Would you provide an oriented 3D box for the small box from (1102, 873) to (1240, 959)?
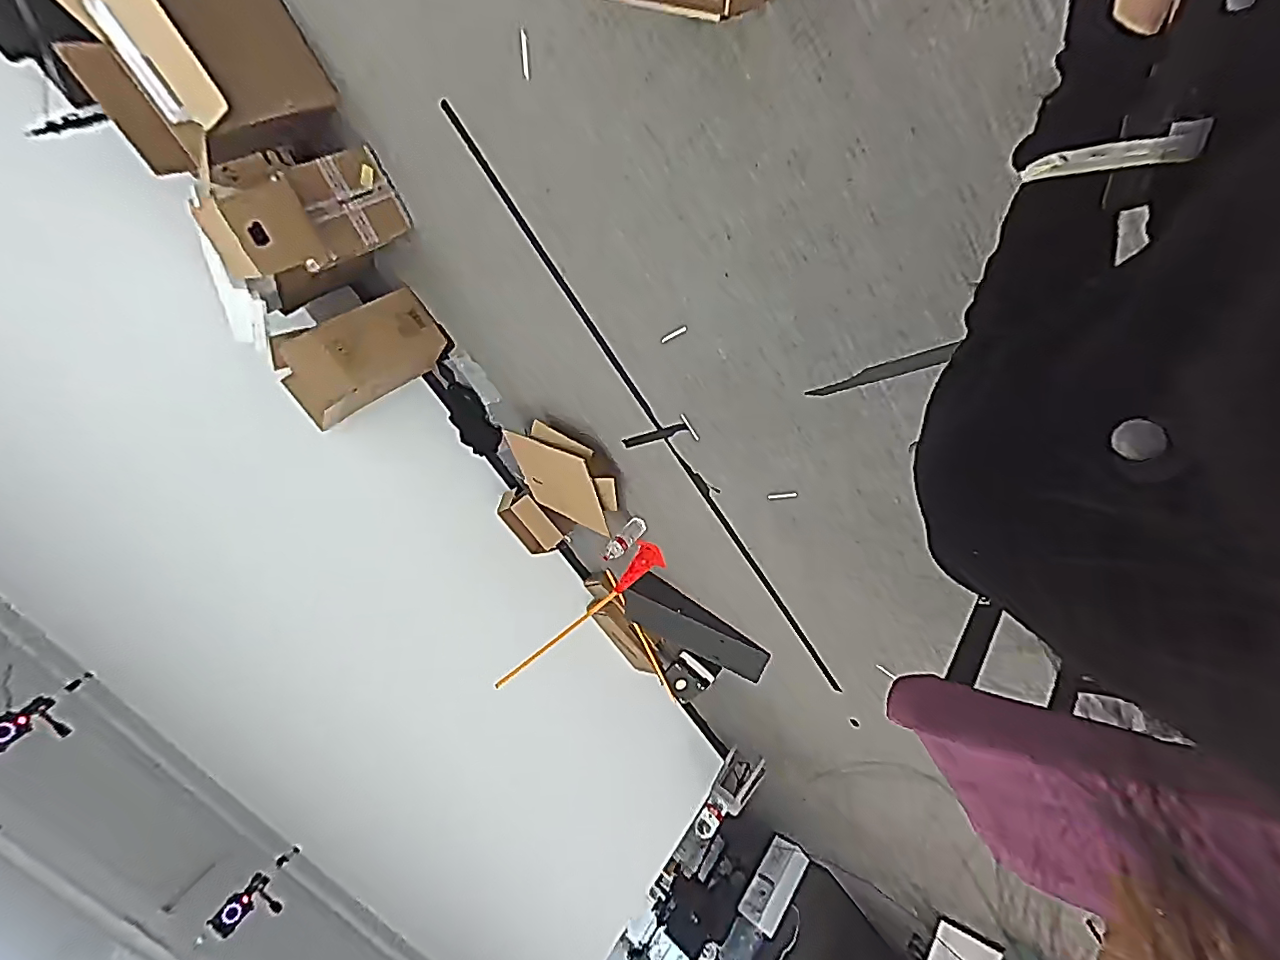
[{"bbox_3d":[1.087,0.966,1.104,0.168,0.176,0.179,-11,117,55],"label":"small box"}]
